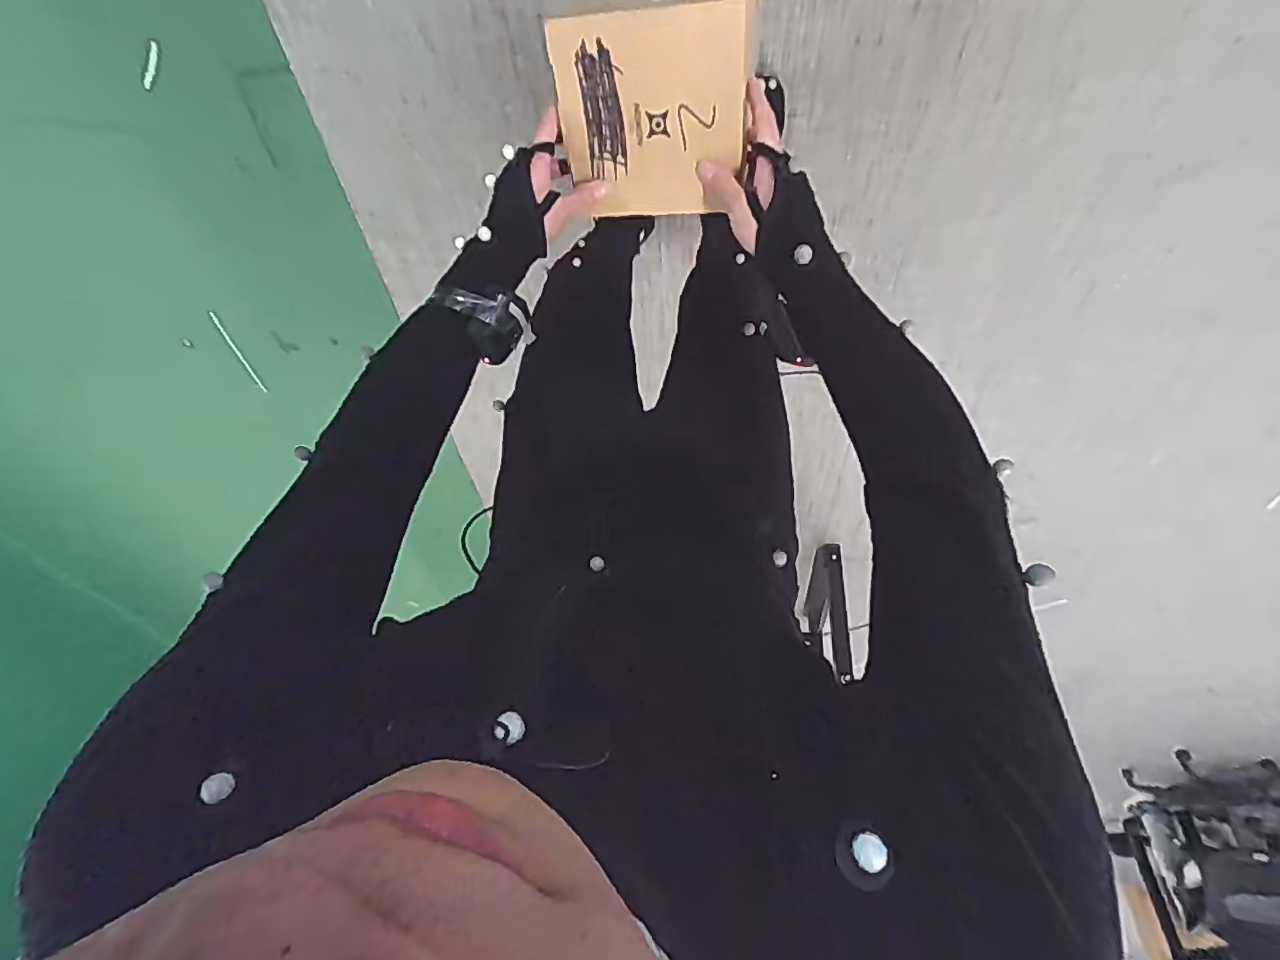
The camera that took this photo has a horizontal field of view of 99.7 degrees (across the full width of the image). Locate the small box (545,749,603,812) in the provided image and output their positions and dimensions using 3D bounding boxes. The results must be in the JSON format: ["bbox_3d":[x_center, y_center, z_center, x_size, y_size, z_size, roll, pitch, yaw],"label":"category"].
[{"bbox_3d":[-0.226,1.043,1.901,0.168,0.176,0.179,8,138,5],"label":"small box"}]
